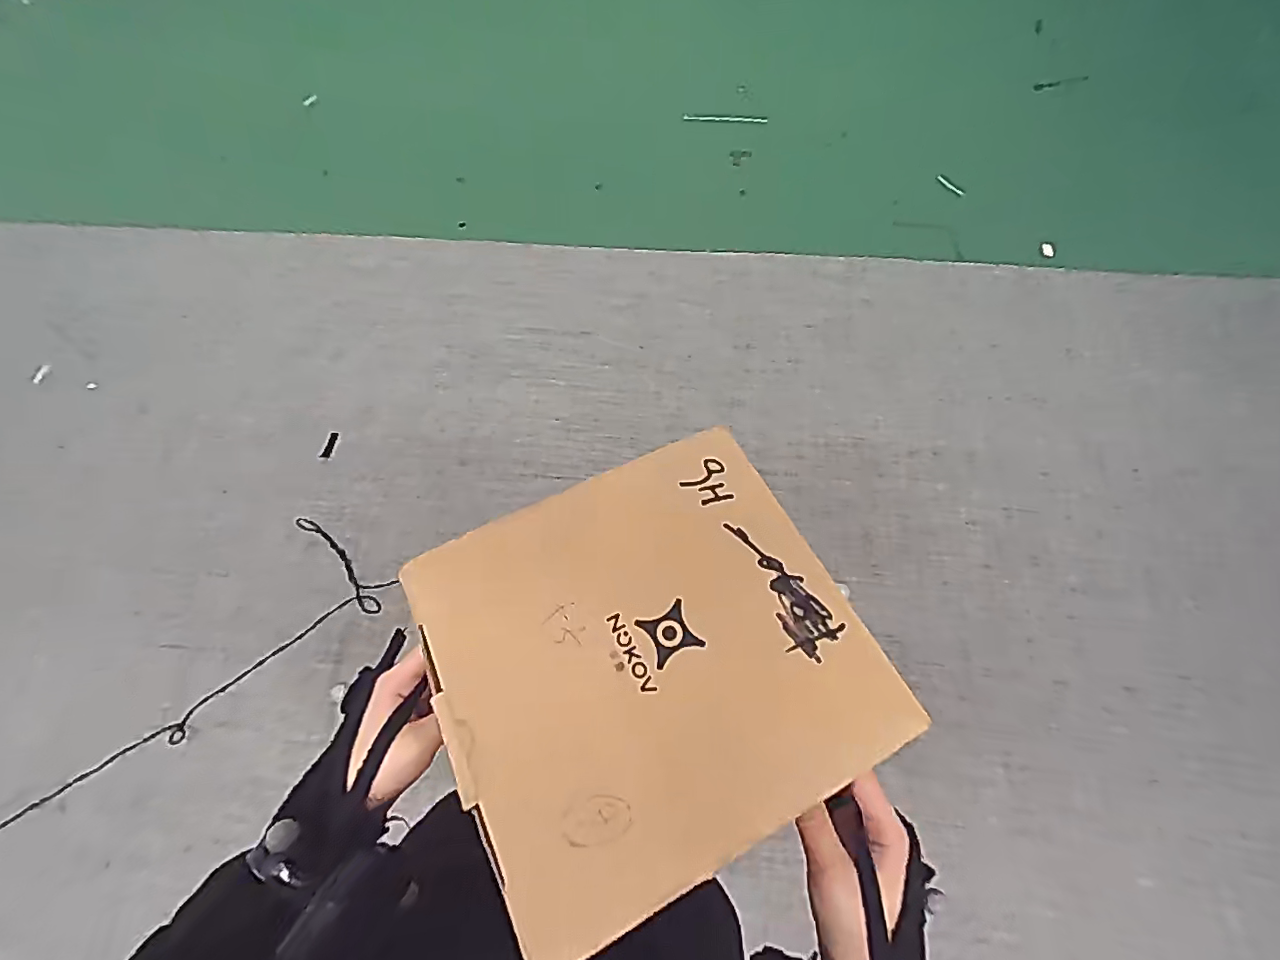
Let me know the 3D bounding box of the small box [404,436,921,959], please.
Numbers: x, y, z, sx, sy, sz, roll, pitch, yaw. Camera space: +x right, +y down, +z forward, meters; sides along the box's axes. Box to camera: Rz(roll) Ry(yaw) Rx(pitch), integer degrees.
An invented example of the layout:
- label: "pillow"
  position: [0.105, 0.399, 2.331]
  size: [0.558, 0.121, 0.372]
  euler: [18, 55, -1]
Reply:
- label: "small box"
  position: [0.003, 0.111, 0.302]
  size: [0.179, 0.176, 0.168]
  euler: [-24, 64, -13]
